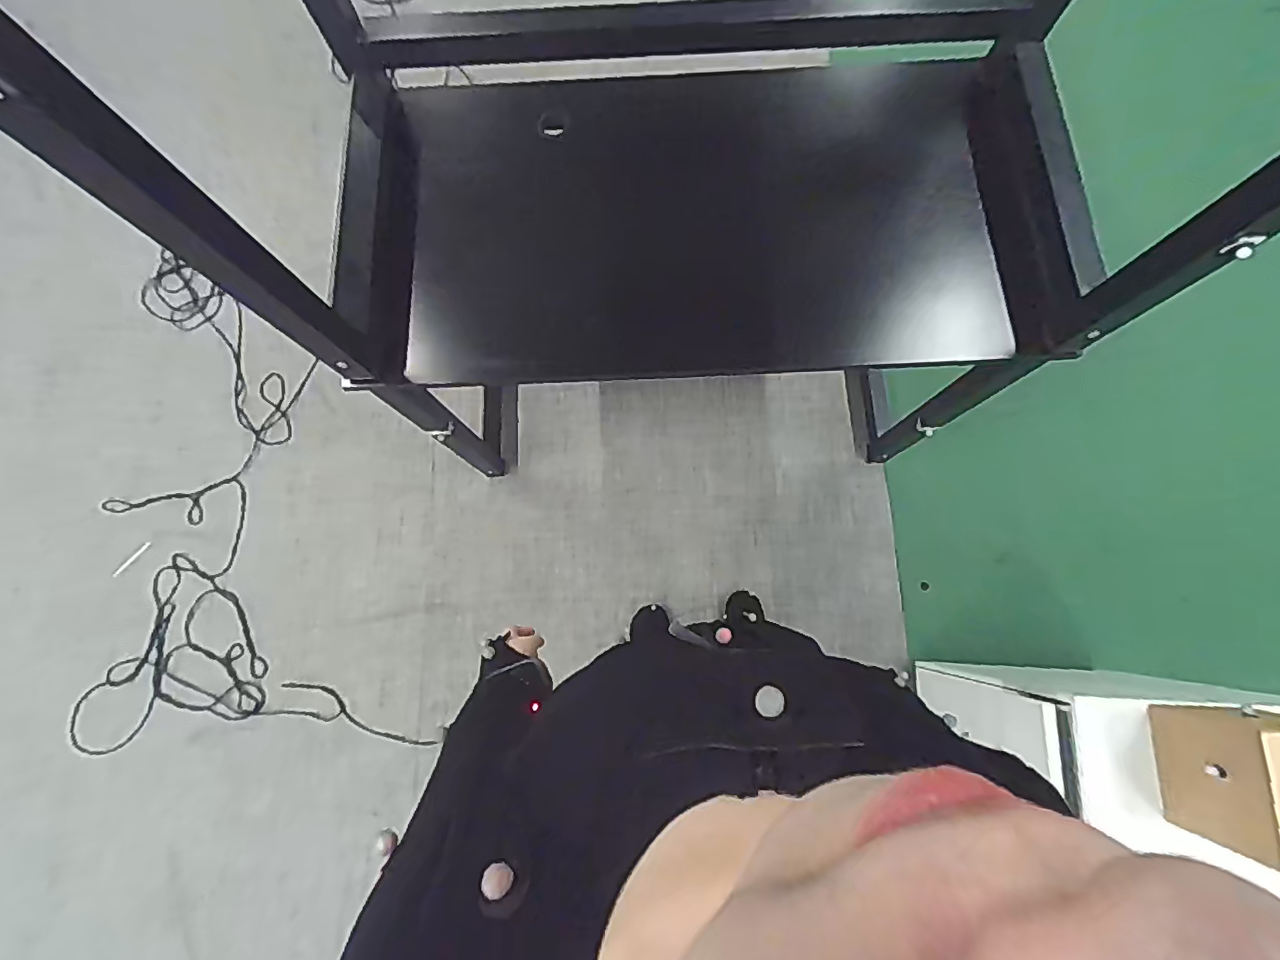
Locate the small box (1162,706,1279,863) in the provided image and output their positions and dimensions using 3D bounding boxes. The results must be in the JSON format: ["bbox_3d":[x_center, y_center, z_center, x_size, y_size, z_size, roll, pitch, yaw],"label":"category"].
[{"bbox_3d":[0.895,0.424,0.760,0.168,0.176,0.179,1,78,2],"label":"small box"}]
